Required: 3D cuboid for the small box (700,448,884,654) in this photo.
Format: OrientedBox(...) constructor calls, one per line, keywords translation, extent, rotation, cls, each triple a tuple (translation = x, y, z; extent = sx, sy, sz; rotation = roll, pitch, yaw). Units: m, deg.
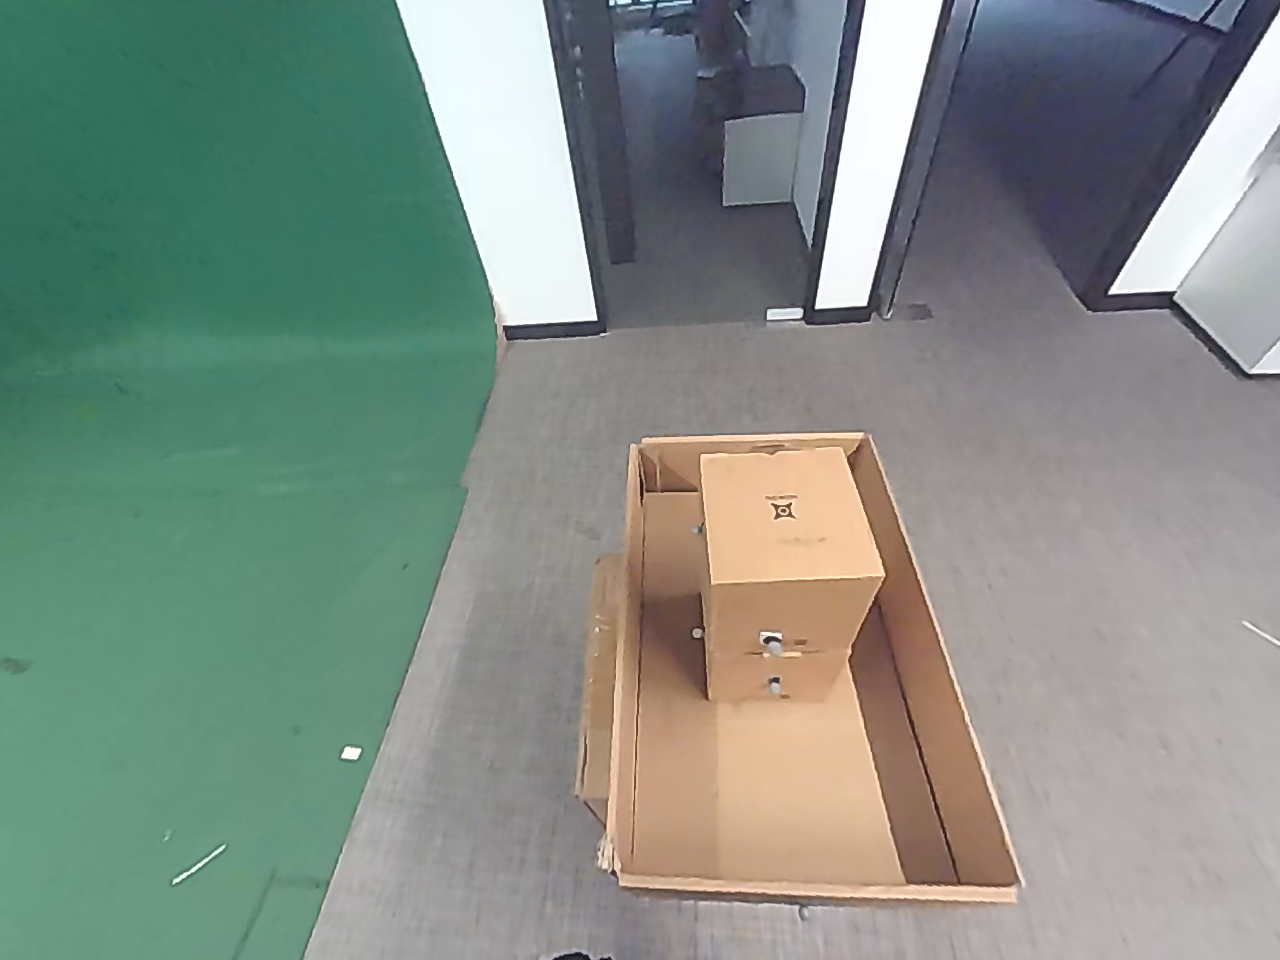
OrientedBox(translation=(0.157, 0.084, 0.629), extent=(0.168, 0.176, 0.179), rotation=(-3, 49, 4), cls="small box")
